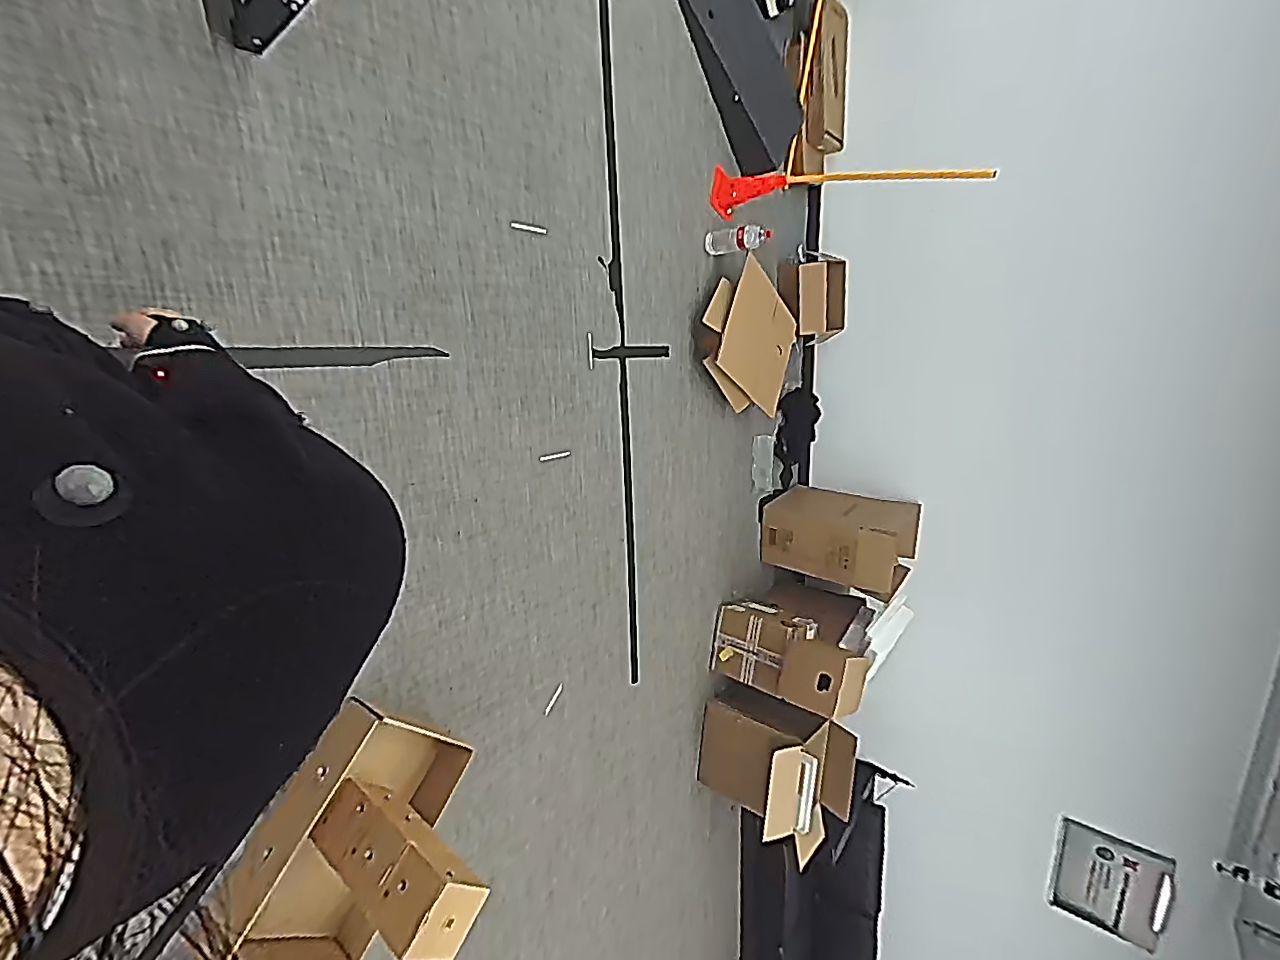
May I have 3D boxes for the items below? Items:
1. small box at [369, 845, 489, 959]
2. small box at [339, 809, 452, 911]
[{"bbox_3d":[-0.515,1.031,1.323,0.168,0.176,0.179,-59,138,-24],"label":"small box"},{"bbox_3d":[-0.643,0.999,1.419,0.168,0.176,0.179,-59,137,-25],"label":"small box"}]
